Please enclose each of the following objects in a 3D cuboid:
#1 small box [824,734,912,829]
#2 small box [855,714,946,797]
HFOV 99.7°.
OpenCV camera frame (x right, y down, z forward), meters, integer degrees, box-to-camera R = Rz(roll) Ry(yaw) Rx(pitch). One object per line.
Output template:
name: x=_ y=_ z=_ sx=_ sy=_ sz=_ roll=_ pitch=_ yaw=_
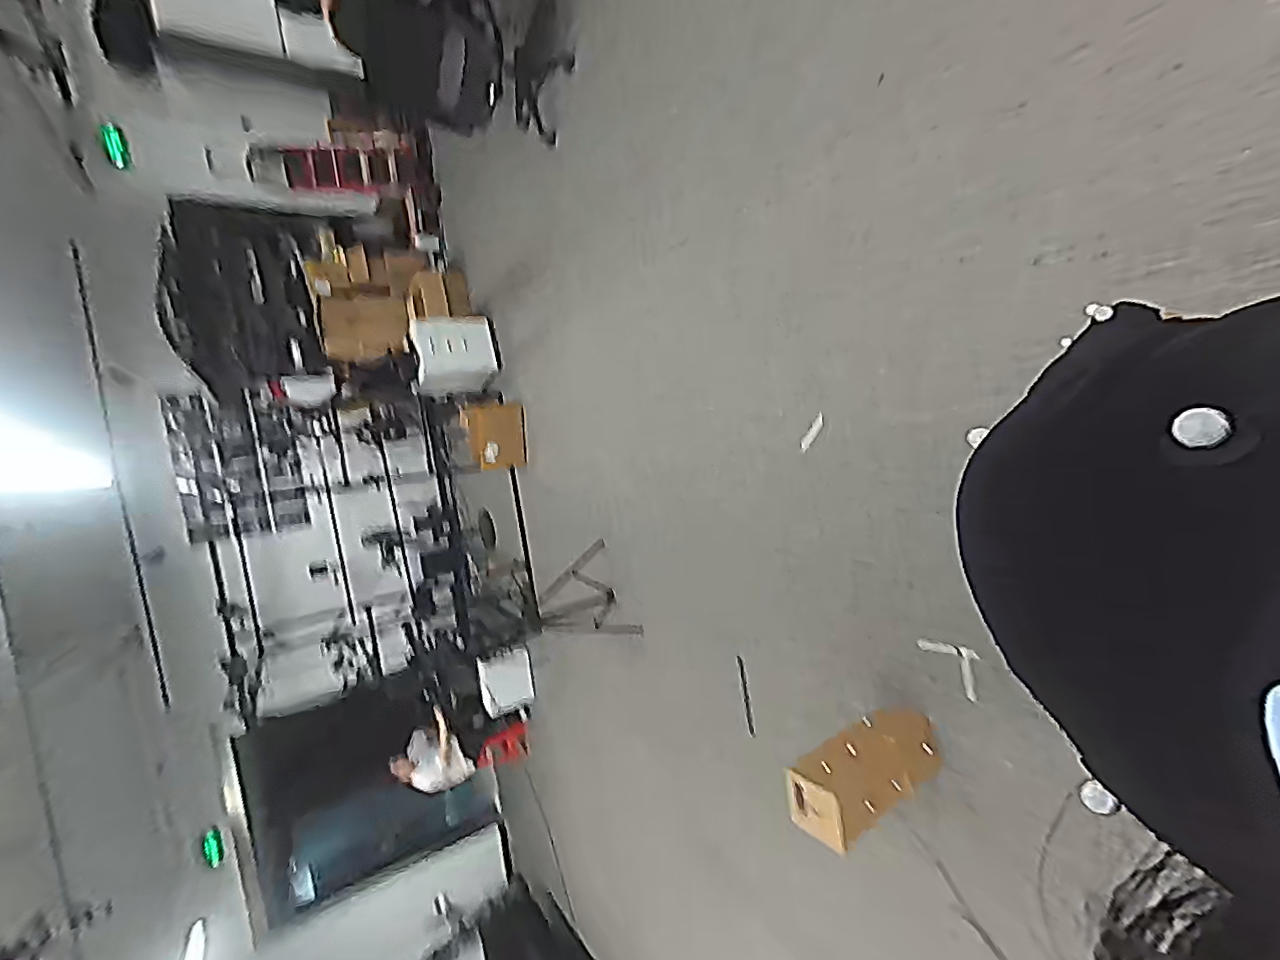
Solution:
small box: x=0.683 y=0.891 z=1.621 sx=0.179 sy=0.176 sz=0.168 roll=-3 pitch=97 yaw=57
small box: x=0.820 y=0.857 z=1.703 sx=0.179 sy=0.176 sz=0.168 roll=-26 pitch=78 yaw=56
